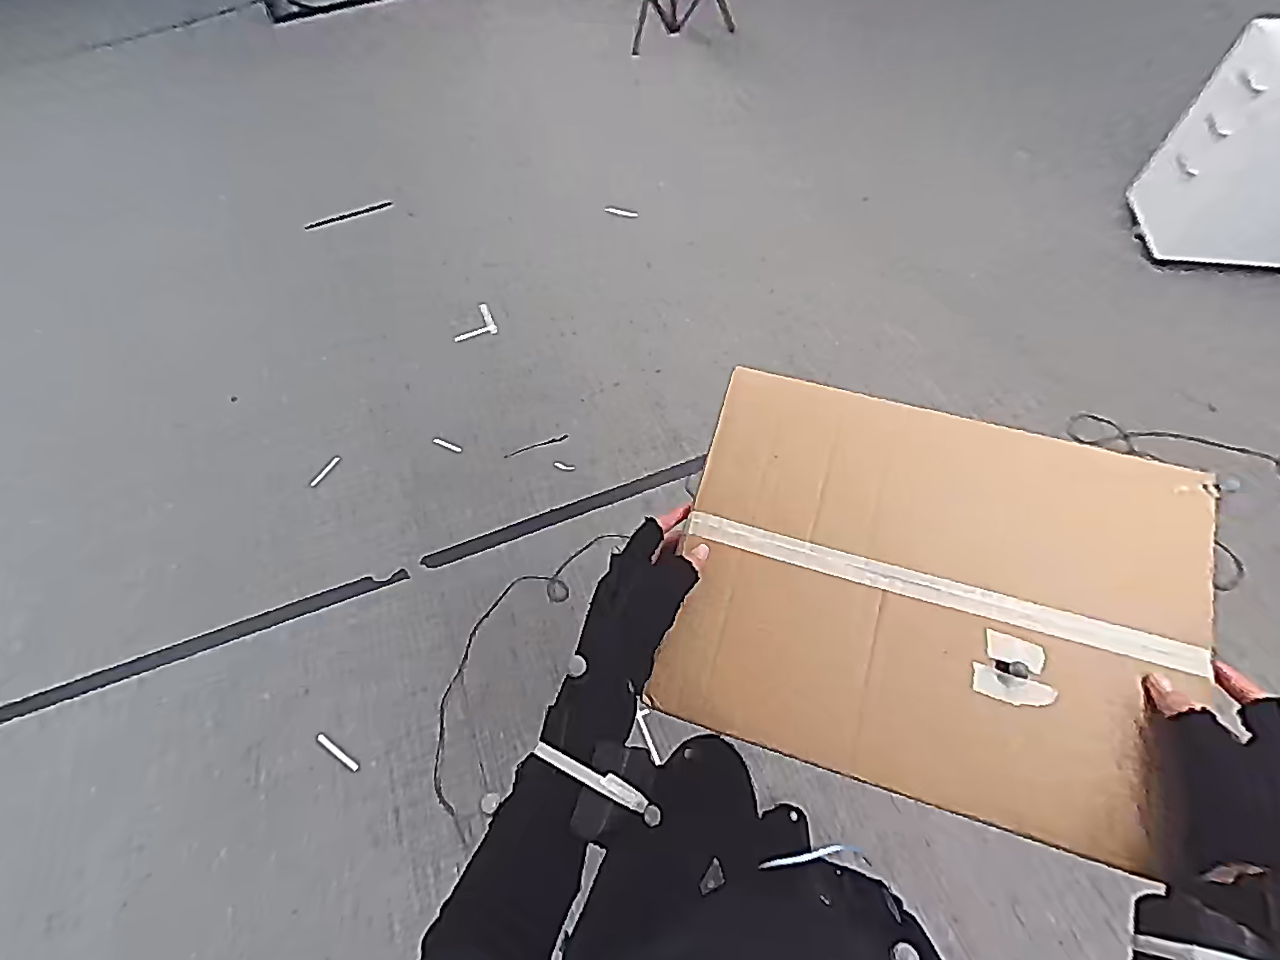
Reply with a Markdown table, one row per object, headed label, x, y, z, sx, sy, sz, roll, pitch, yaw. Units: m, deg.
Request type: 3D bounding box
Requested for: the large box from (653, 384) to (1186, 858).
| label | x | y | z | sx | sy | sz | roll | pitch | yaw |
| --- | --- | --- | --- | --- | --- | --- | --- | --- | --- |
| large box | 0.249 | 0.132 | 0.603 | 0.408 | 0.320 | 0.320 | 15 | 77 | 9 |
